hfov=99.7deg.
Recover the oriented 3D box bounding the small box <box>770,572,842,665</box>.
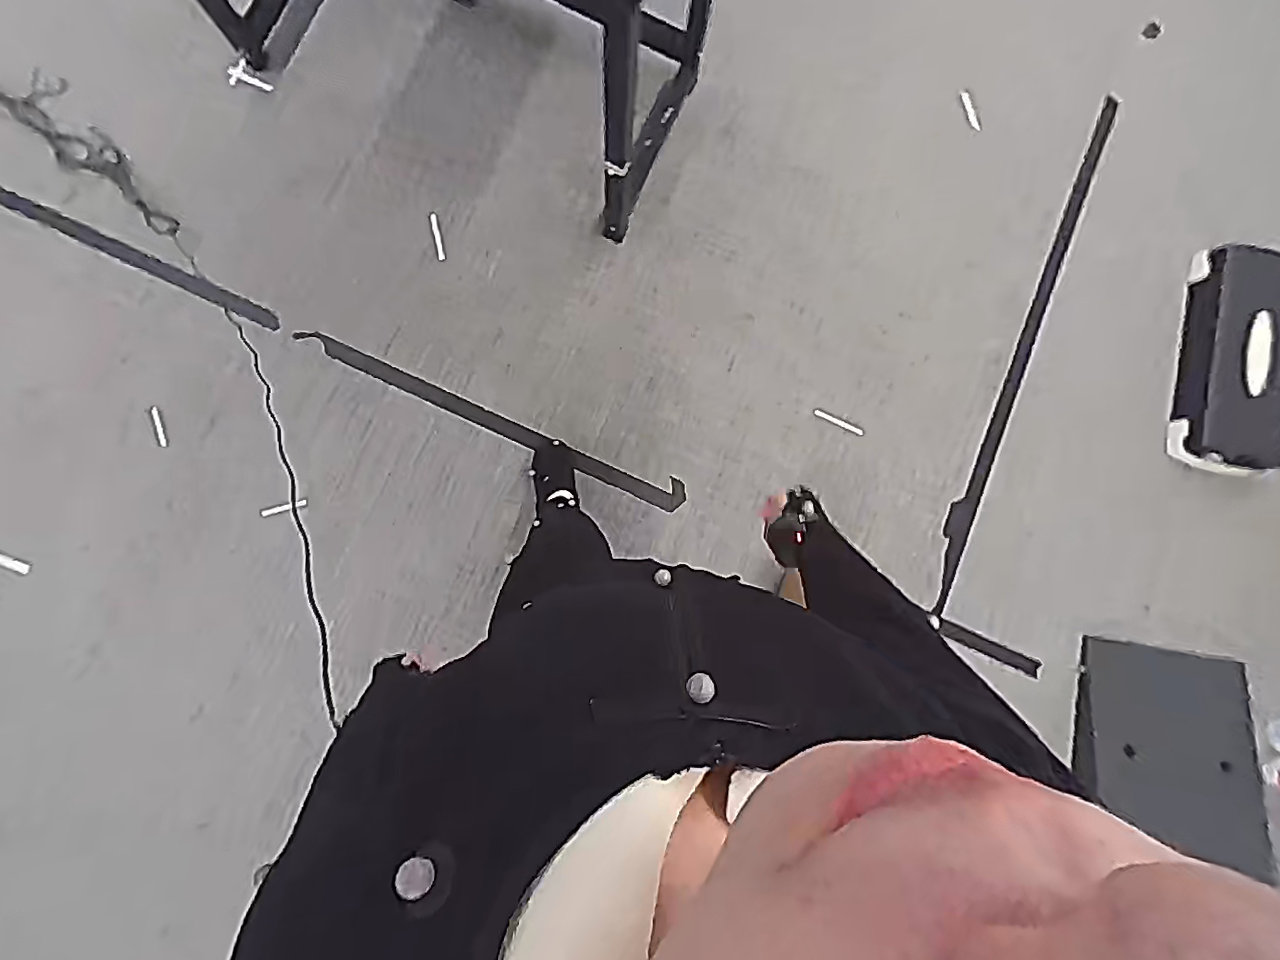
[{"bbox_3d":[0.460,0.357,1.428,0.168,0.176,0.179,23,84,-2],"label":"small box"}]
